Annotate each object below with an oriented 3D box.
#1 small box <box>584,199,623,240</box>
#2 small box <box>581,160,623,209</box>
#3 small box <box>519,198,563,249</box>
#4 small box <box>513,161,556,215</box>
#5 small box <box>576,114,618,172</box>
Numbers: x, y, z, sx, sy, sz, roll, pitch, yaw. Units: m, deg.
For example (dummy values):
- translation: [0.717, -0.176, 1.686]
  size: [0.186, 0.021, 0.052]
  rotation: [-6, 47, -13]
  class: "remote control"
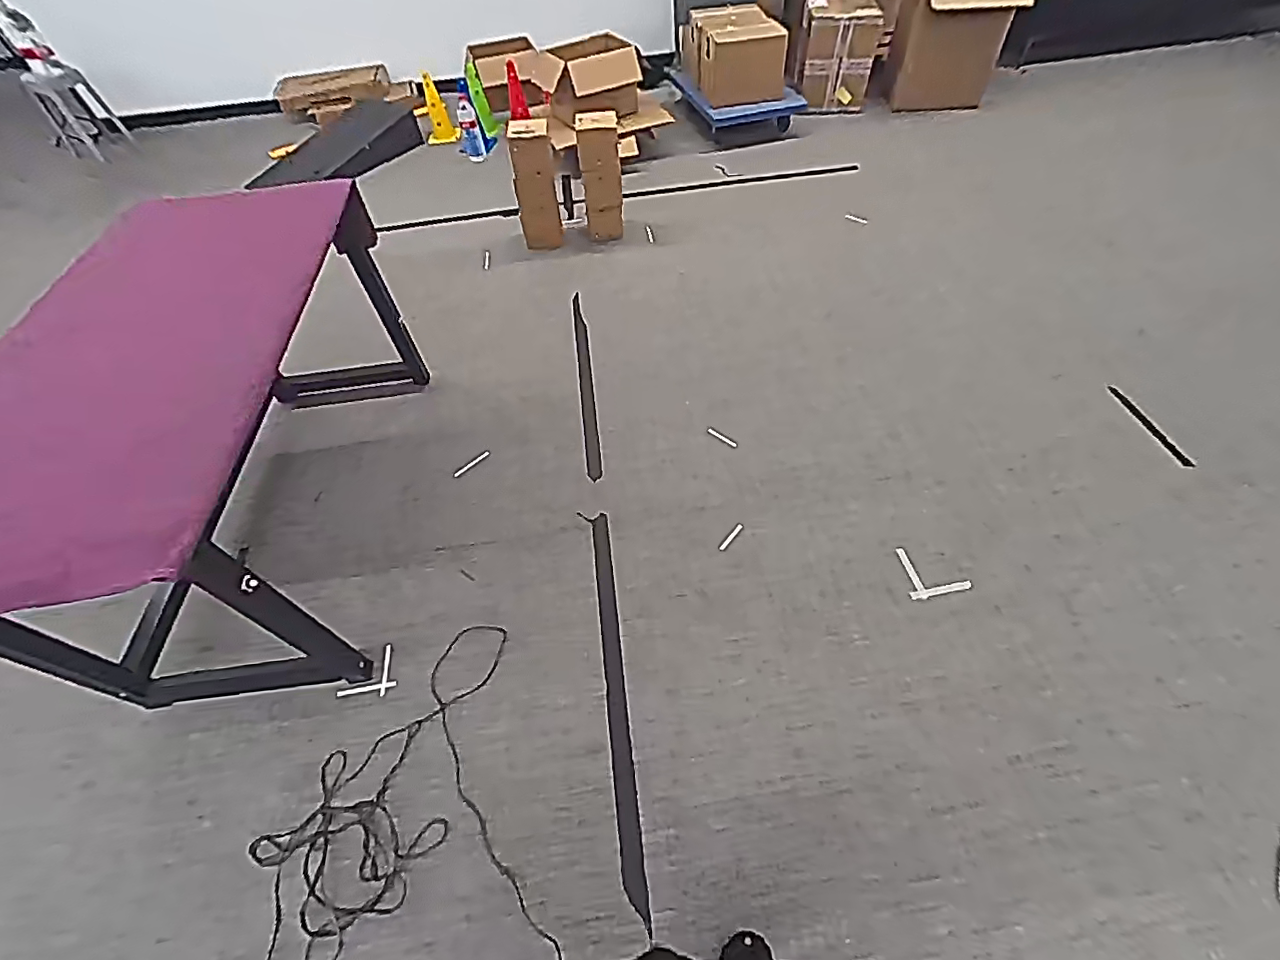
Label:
- translation: [-0.177, -1.289, 2.635]
  size: [0.168, 0.176, 0.179]
  rotation: [-8, 53, -4]
  class: "small box"
- translation: [-0.177, -1.374, 2.493]
  size: [0.179, 0.176, 0.168]
  rotation: [-6, 54, -2]
  class: "small box"
- translation: [-0.476, -1.236, 2.614]
  size: [0.179, 0.176, 0.168]
  rotation: [-3, 53, 1]
  class: "small box"
- translation: [-0.480, -1.340, 2.489]
  size: [0.168, 0.176, 0.179]
  rotation: [-3, 52, -2]
  class: "small box"
- translation: [-0.184, -1.469, 2.360]
  size: [0.179, 0.176, 0.168]
  rotation: [-3, 54, -1]
  class: "small box"
